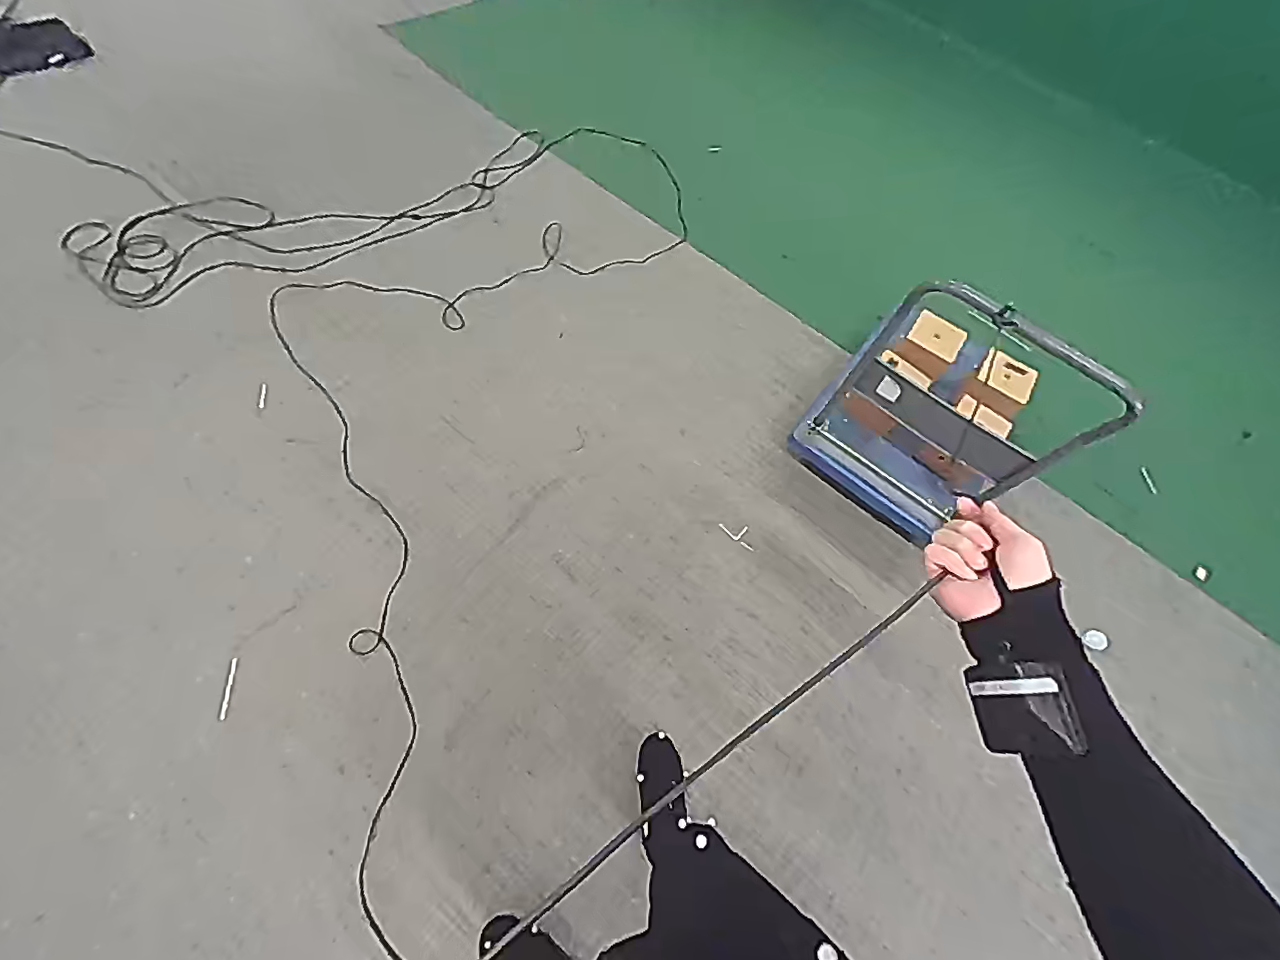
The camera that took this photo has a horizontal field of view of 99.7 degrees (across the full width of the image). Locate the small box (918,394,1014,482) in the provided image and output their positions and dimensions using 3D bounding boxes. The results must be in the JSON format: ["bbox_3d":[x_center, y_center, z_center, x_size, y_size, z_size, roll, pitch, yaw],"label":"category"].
[{"bbox_3d":[1.011,-0.128,1.692,0.168,0.176,0.179,40,65,12],"label":"small box"}]

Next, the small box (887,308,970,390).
[{"bbox_3d":[0.980,-0.443,1.854,0.168,0.176,0.179,36,63,10],"label":"small box"}]

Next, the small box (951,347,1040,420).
[{"bbox_3d":[1.183,-0.301,1.809,0.168,0.176,0.179,35,64,11],"label":"small box"}]
